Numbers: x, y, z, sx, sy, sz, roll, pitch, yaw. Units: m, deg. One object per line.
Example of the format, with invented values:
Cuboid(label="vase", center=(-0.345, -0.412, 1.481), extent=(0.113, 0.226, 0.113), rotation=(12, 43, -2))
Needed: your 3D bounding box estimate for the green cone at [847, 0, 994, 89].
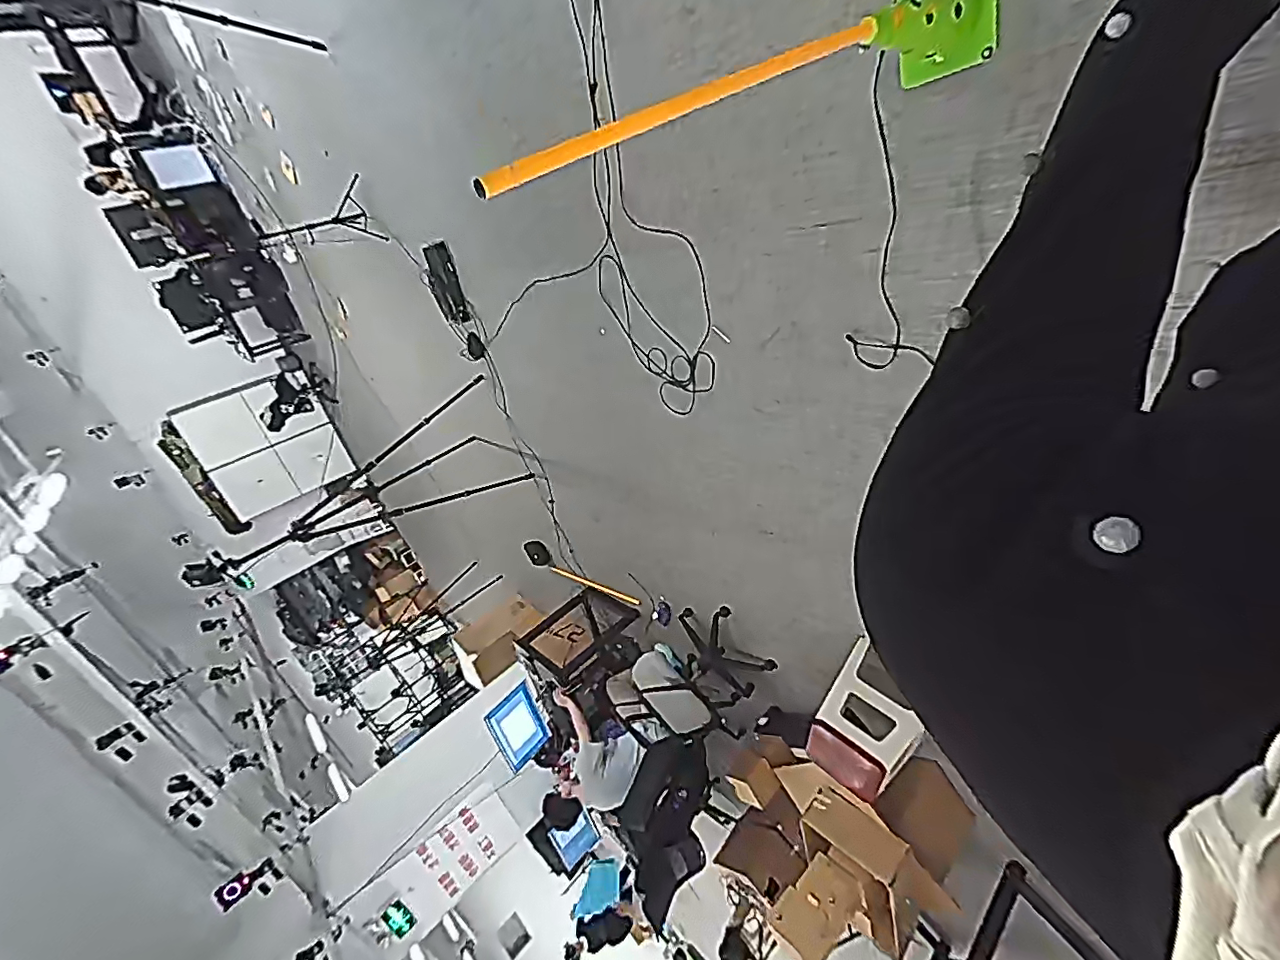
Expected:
Cuboid(label="green cone", center=(0.540, -0.924, 1.100), extent=(0.202, 0.368, 0.200), rotation=(15, 130, 49))
